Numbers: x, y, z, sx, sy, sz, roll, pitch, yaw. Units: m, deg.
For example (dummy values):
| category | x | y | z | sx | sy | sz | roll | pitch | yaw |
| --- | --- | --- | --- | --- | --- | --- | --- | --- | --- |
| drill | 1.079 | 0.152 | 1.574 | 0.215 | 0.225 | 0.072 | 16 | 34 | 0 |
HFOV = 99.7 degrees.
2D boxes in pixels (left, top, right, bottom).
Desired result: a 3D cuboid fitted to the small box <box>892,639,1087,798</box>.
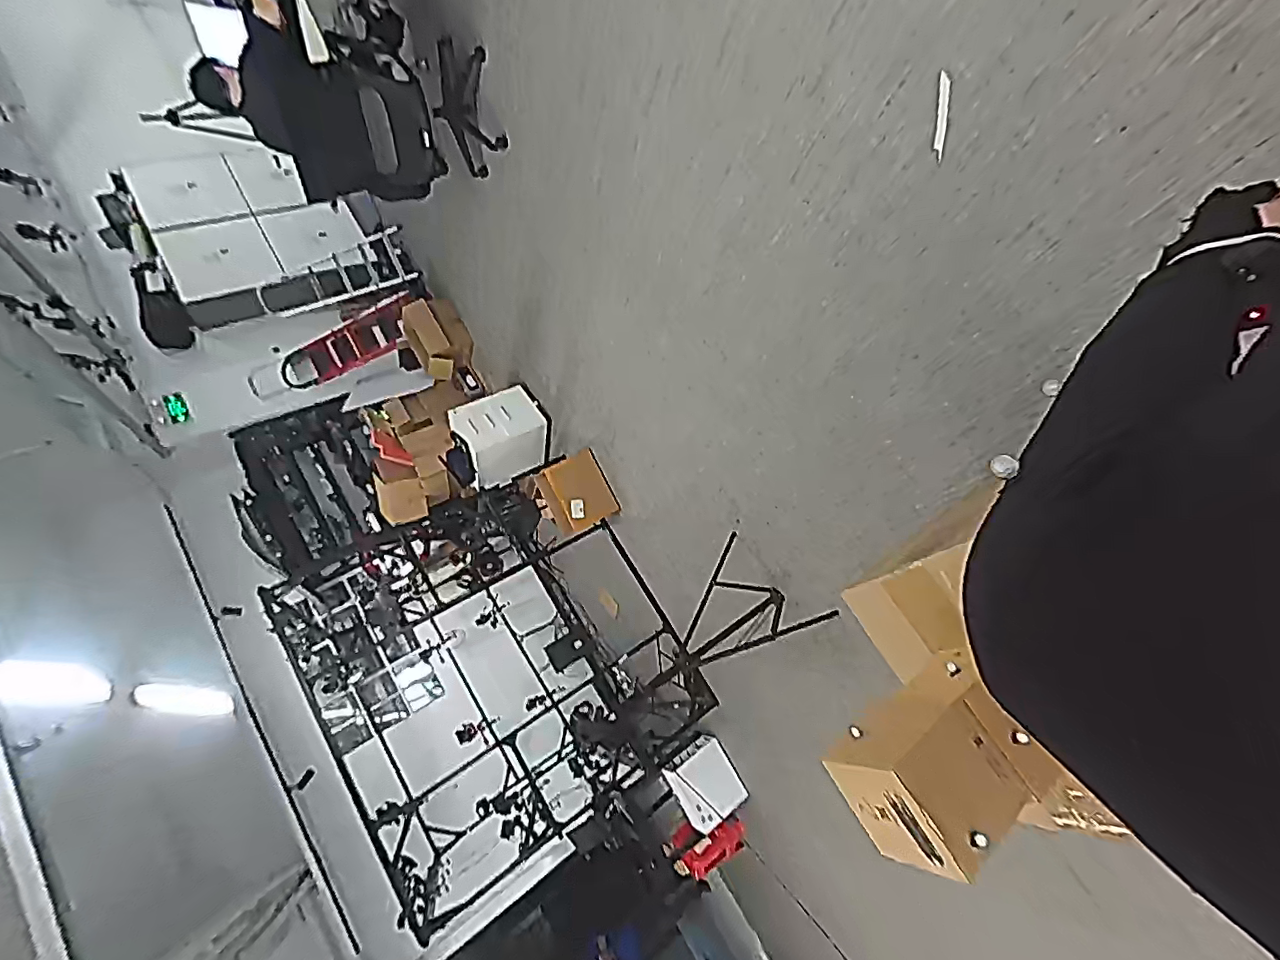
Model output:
| category | x | y | z | sx | sy | sz | roll | pitch | yaw |
| --- | --- | --- | --- | --- | --- | --- | --- | --- | --- |
| small box | 0.568 | 0.380 | 0.888 | 0.179 | 0.176 | 0.168 | 55 | 153 | 12 |
